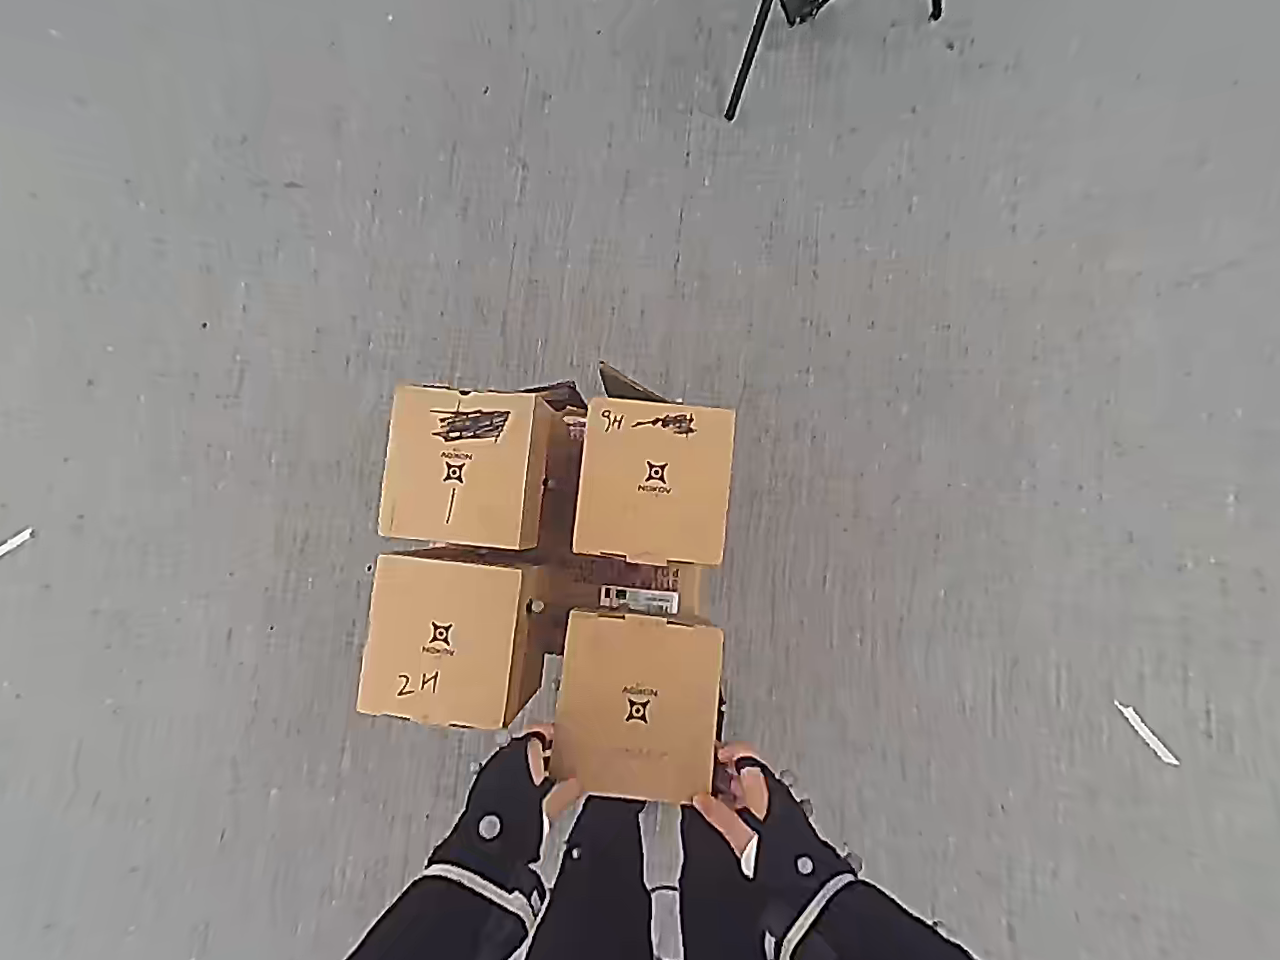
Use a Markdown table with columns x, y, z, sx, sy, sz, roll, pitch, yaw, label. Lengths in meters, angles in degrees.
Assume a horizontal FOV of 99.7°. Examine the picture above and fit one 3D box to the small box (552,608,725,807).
| x | y | z | sx | sy | sz | roll | pitch | yaw | label |
| --- | --- | --- | --- | --- | --- | --- | --- | --- | --- |
| -0.002 | 0.248 | 0.632 | 0.168 | 0.176 | 0.179 | 5 | 81 | 0 | small box |
